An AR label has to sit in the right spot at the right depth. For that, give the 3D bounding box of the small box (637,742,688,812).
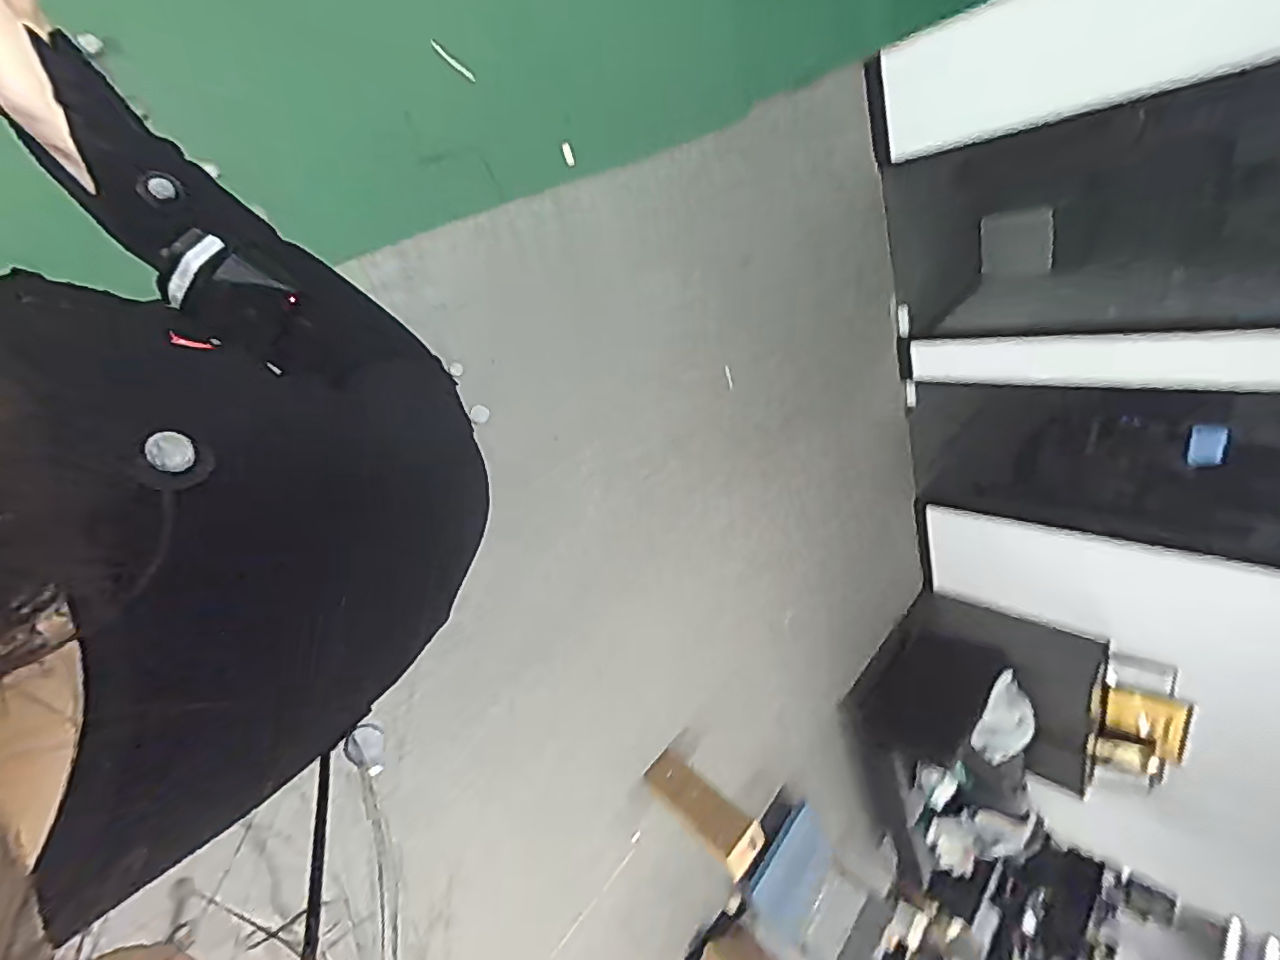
[{"bbox_3d":[0.107,1.311,2.394,0.179,0.176,0.168,-38,123,-30],"label":"small box"}]

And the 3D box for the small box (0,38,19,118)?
[{"bbox_3d":[-0.457,-0.295,0.259,0.168,0.176,0.179,-17,119,-37],"label":"small box"}]

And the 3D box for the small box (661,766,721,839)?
[{"bbox_3d":[0.212,1.345,2.272,0.168,0.176,0.179,-37,123,-29],"label":"small box"}]
